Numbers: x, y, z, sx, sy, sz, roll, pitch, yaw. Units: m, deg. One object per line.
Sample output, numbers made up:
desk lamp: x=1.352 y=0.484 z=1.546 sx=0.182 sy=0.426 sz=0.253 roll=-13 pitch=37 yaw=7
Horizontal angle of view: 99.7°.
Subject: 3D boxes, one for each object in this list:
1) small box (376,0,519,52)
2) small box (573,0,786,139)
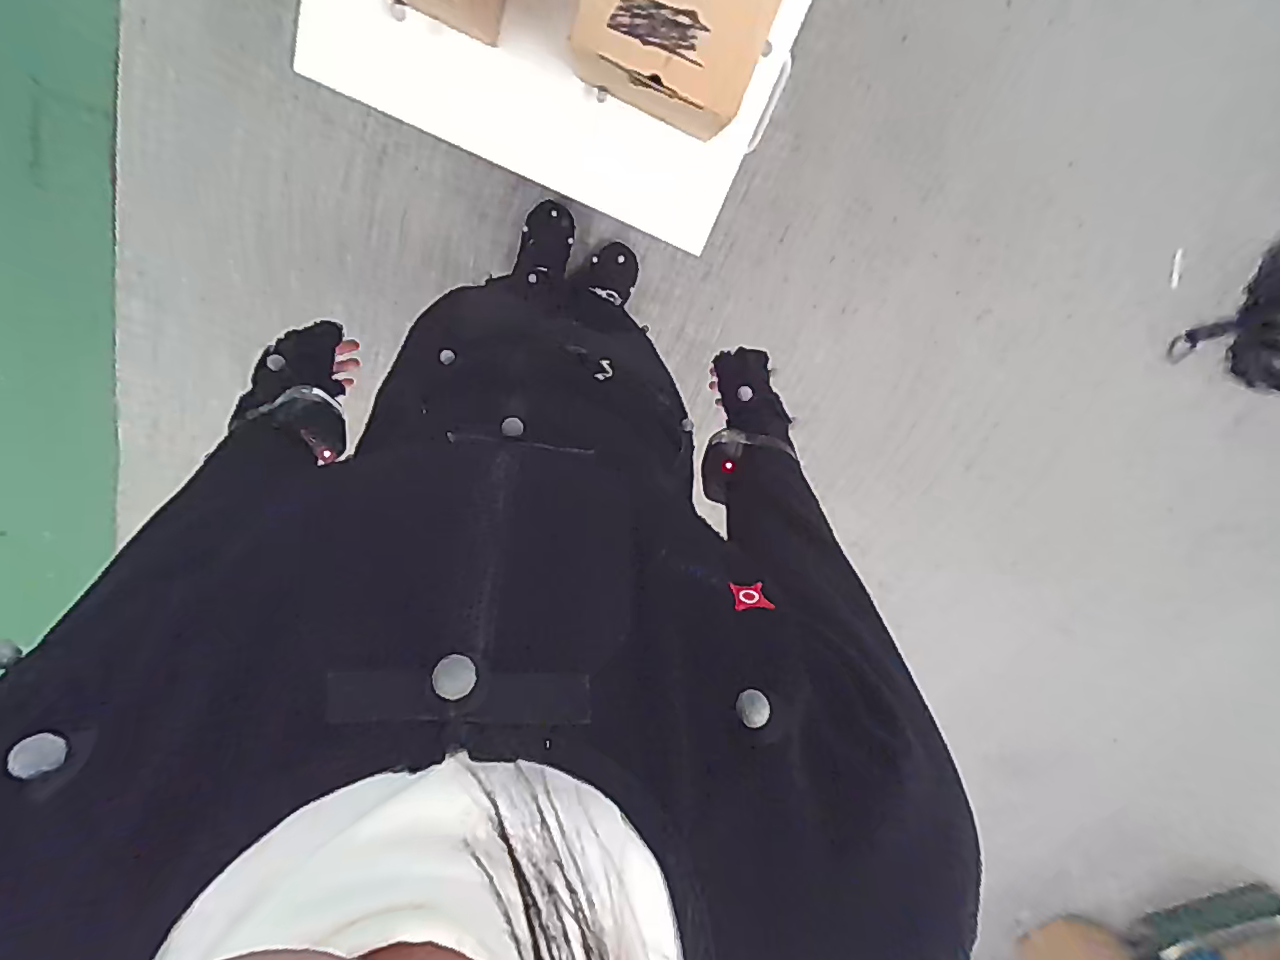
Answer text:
small box: x=-0.195 y=-0.538 z=0.490 sx=0.168 sy=0.176 sz=0.179 roll=17 pitch=116 yaw=-9
small box: x=0.046 y=-0.465 z=0.531 sx=0.168 sy=0.176 sz=0.179 roll=19 pitch=114 yaw=-10
